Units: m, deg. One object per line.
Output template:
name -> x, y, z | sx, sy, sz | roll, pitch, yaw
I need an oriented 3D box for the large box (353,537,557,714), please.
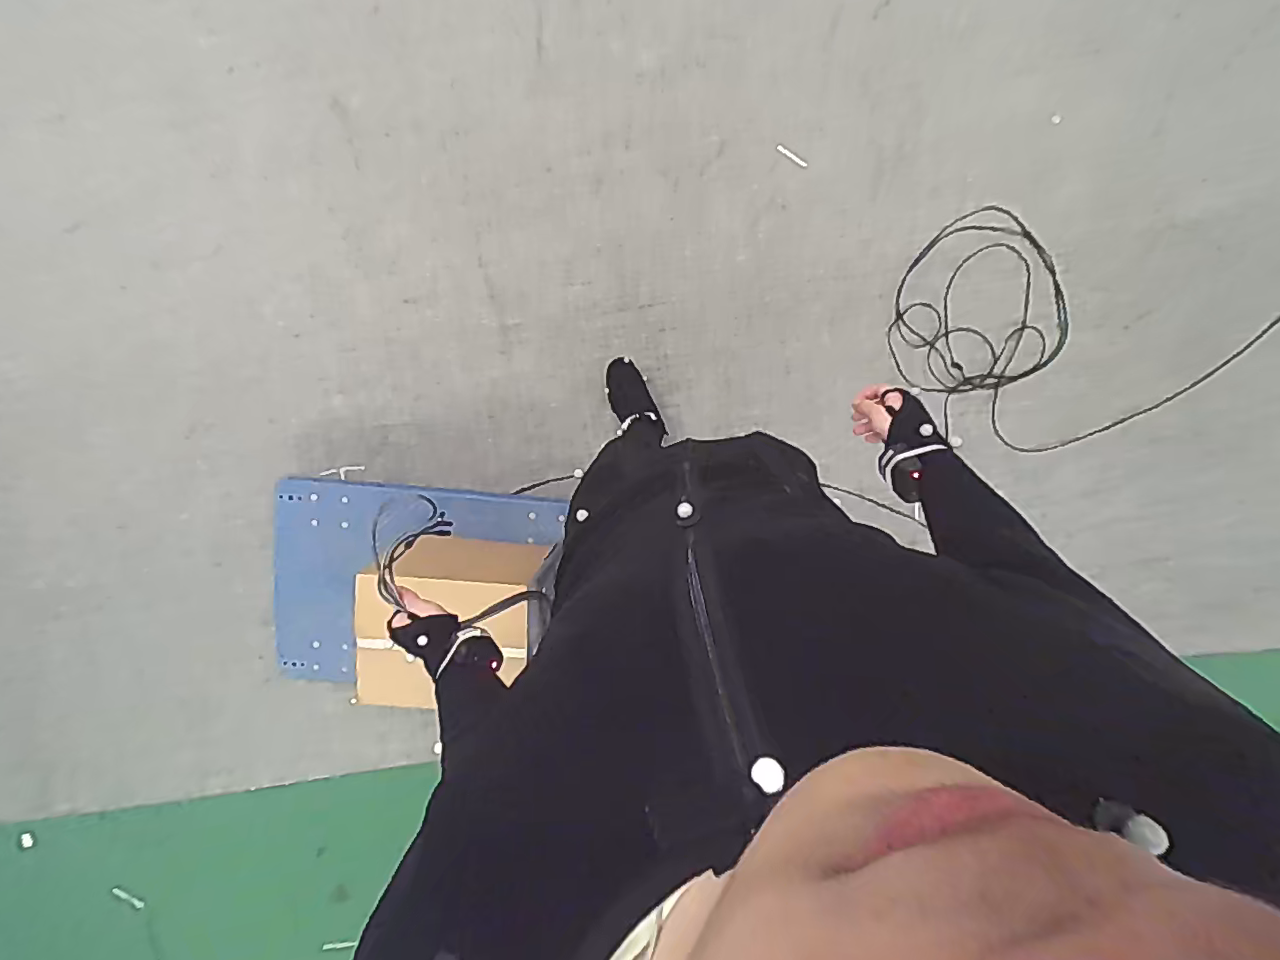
large box -> -0.427, 0.339, 1.333 | 0.408, 0.320, 0.320 | 4, 99, -1
